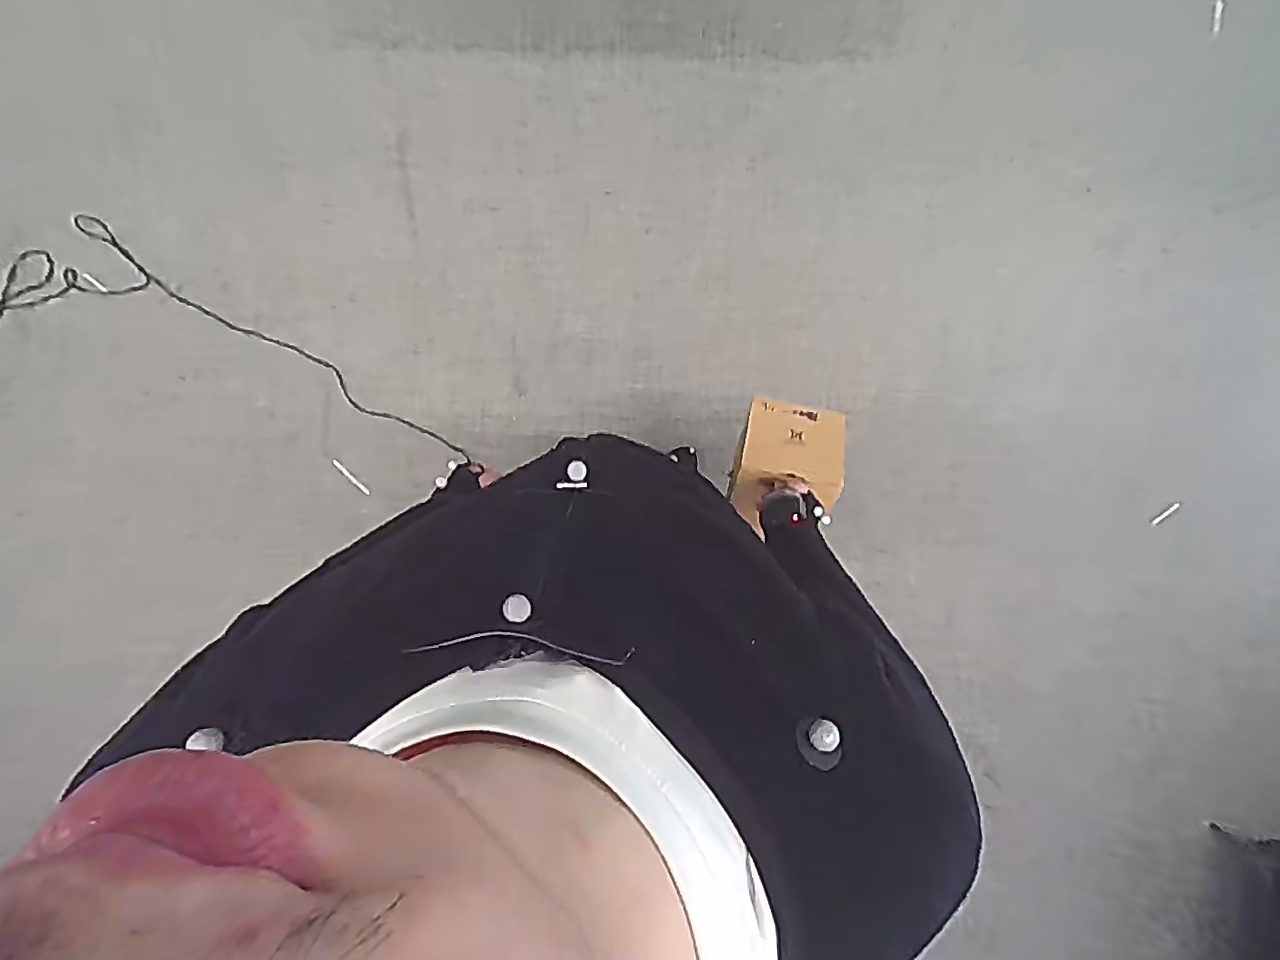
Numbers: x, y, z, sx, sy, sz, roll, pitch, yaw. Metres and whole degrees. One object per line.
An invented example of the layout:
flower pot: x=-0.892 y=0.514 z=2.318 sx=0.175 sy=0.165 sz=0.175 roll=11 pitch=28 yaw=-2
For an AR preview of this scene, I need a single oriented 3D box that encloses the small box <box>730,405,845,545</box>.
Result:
small box: x=0.261 y=-0.005 z=0.977 sx=0.168 sy=0.176 sz=0.179 roll=11 pitch=50 yaw=6
